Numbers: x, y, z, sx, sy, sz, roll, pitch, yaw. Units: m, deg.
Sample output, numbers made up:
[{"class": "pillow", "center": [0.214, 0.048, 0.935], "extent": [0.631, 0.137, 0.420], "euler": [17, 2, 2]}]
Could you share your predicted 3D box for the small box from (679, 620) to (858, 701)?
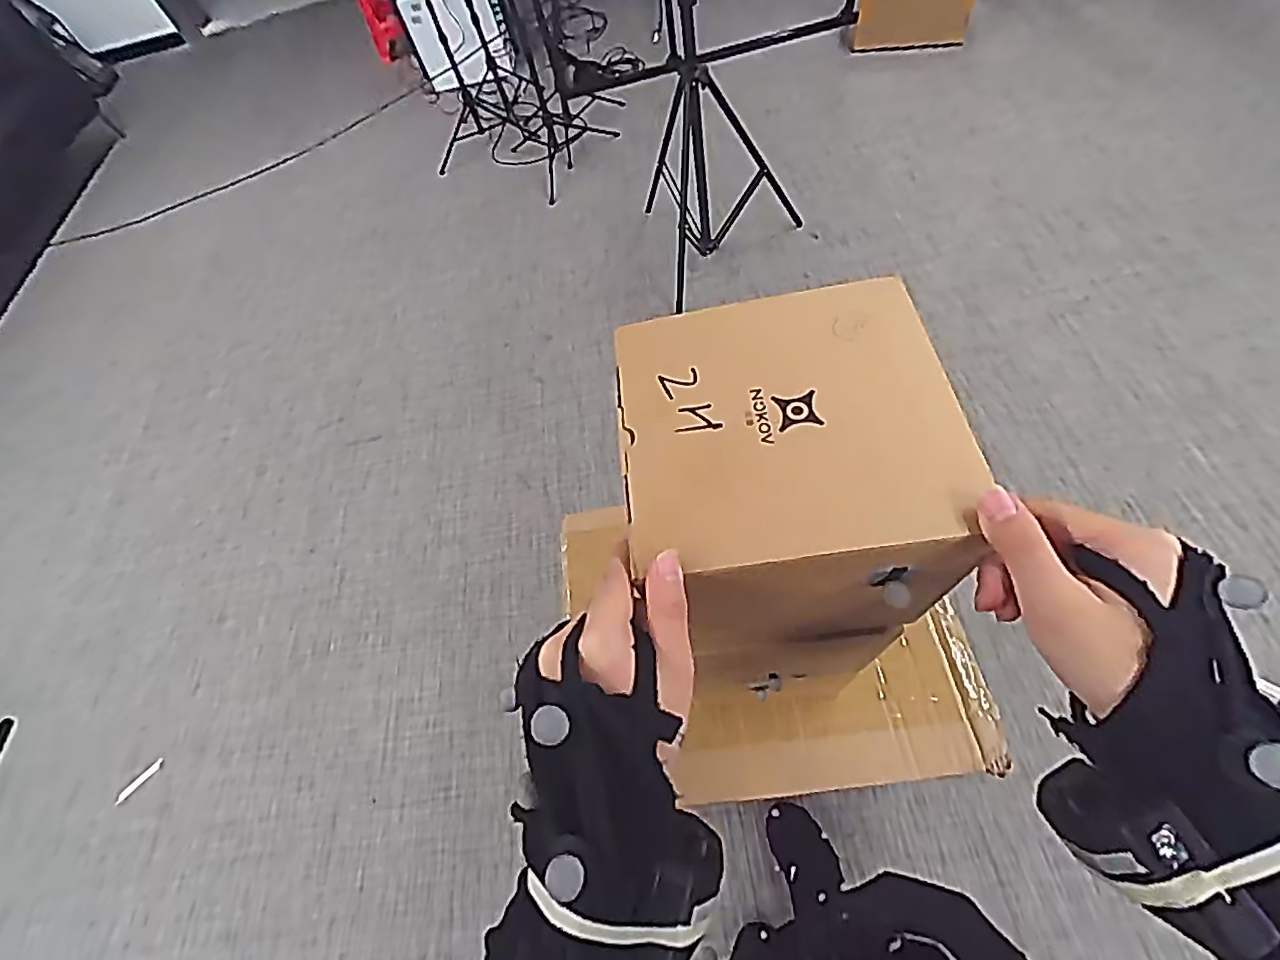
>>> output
[{"class": "small box", "center": [0.138, 0.160, 0.642], "extent": [0.179, 0.176, 0.168], "euler": [-8, 60, 6]}]

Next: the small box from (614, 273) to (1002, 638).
[{"class": "small box", "center": [0.087, -0.002, 0.360], "extent": [0.179, 0.176, 0.168], "euler": [-9, 60, 6]}]
